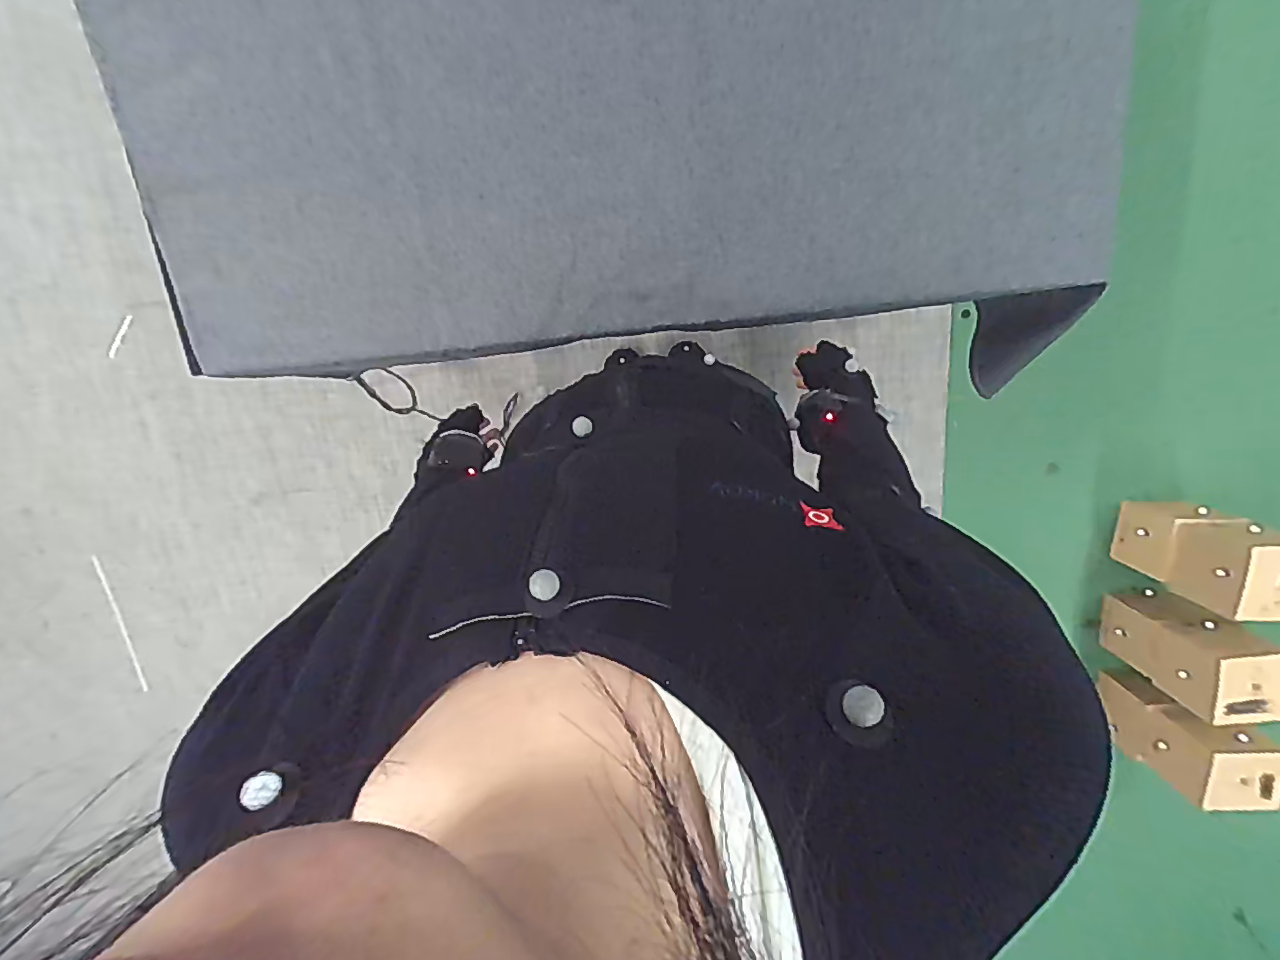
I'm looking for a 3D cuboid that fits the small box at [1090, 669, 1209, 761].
[{"bbox_3d":[1.412,0.655,1.511,0.168,0.176,0.179,-1,105,3],"label":"small box"}]

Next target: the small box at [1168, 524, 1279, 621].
[{"bbox_3d":[1.368,0.203,1.230,0.168,0.176,0.179,-1,104,3],"label":"small box"}]

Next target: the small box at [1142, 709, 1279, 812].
[{"bbox_3d":[1.428,0.693,1.352,0.179,0.176,0.168,-3,105,3],"label":"small box"}]

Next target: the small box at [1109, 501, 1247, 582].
[{"bbox_3d":[1.365,0.155,1.388,0.179,0.176,0.168,0,104,2],"label":"small box"}]
